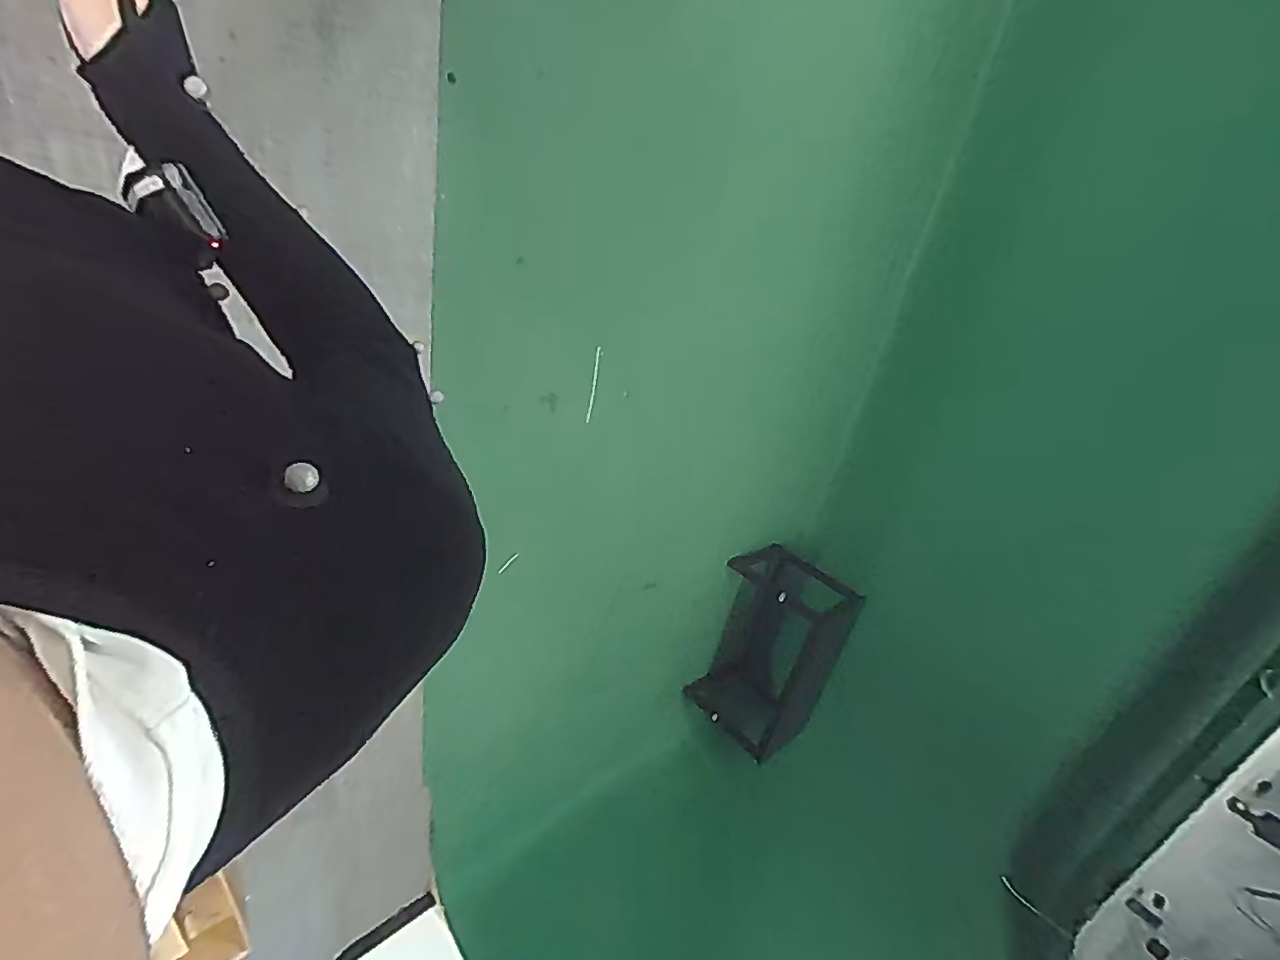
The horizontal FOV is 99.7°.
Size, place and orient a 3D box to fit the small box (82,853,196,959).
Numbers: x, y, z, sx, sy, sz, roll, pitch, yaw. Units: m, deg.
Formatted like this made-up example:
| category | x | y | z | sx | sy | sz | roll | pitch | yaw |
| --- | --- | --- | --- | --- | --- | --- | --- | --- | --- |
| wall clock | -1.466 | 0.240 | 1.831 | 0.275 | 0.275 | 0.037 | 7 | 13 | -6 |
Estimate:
| category | x | y | z | sx | sy | sz | roll | pitch | yaw |
| --- | --- | --- | --- | --- | --- | --- | --- | --- | --- |
| small box | -1.183 | 1.042 | 1.281 | 0.168 | 0.176 | 0.179 | -17 | 129 | -41 |
